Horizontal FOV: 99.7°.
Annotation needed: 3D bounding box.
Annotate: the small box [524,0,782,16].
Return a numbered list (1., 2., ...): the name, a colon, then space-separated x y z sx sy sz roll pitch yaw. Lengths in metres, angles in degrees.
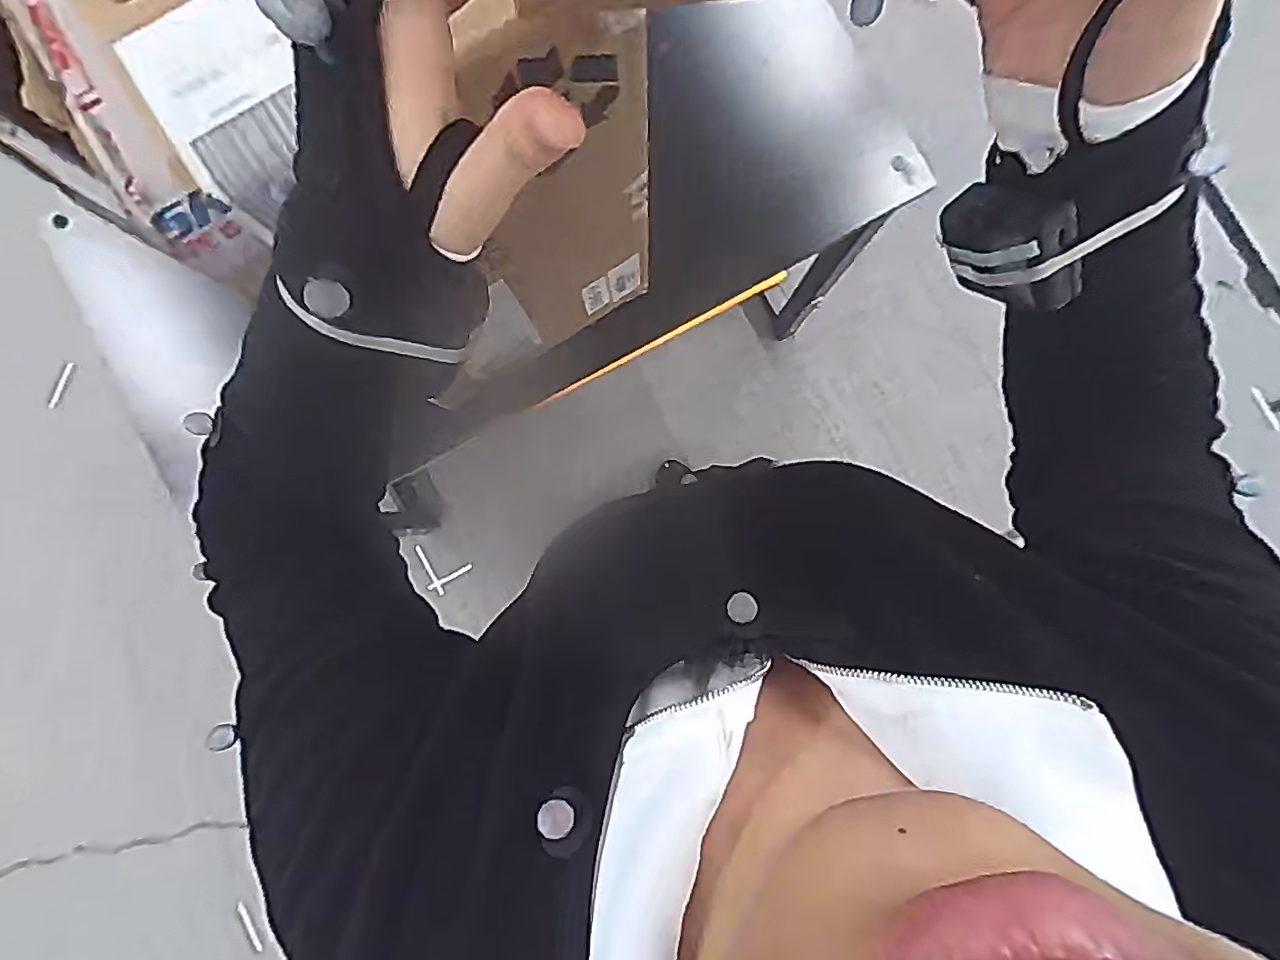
1. small box: 0.038 -0.248 0.152 0.179 0.176 0.168 -10 128 -5
